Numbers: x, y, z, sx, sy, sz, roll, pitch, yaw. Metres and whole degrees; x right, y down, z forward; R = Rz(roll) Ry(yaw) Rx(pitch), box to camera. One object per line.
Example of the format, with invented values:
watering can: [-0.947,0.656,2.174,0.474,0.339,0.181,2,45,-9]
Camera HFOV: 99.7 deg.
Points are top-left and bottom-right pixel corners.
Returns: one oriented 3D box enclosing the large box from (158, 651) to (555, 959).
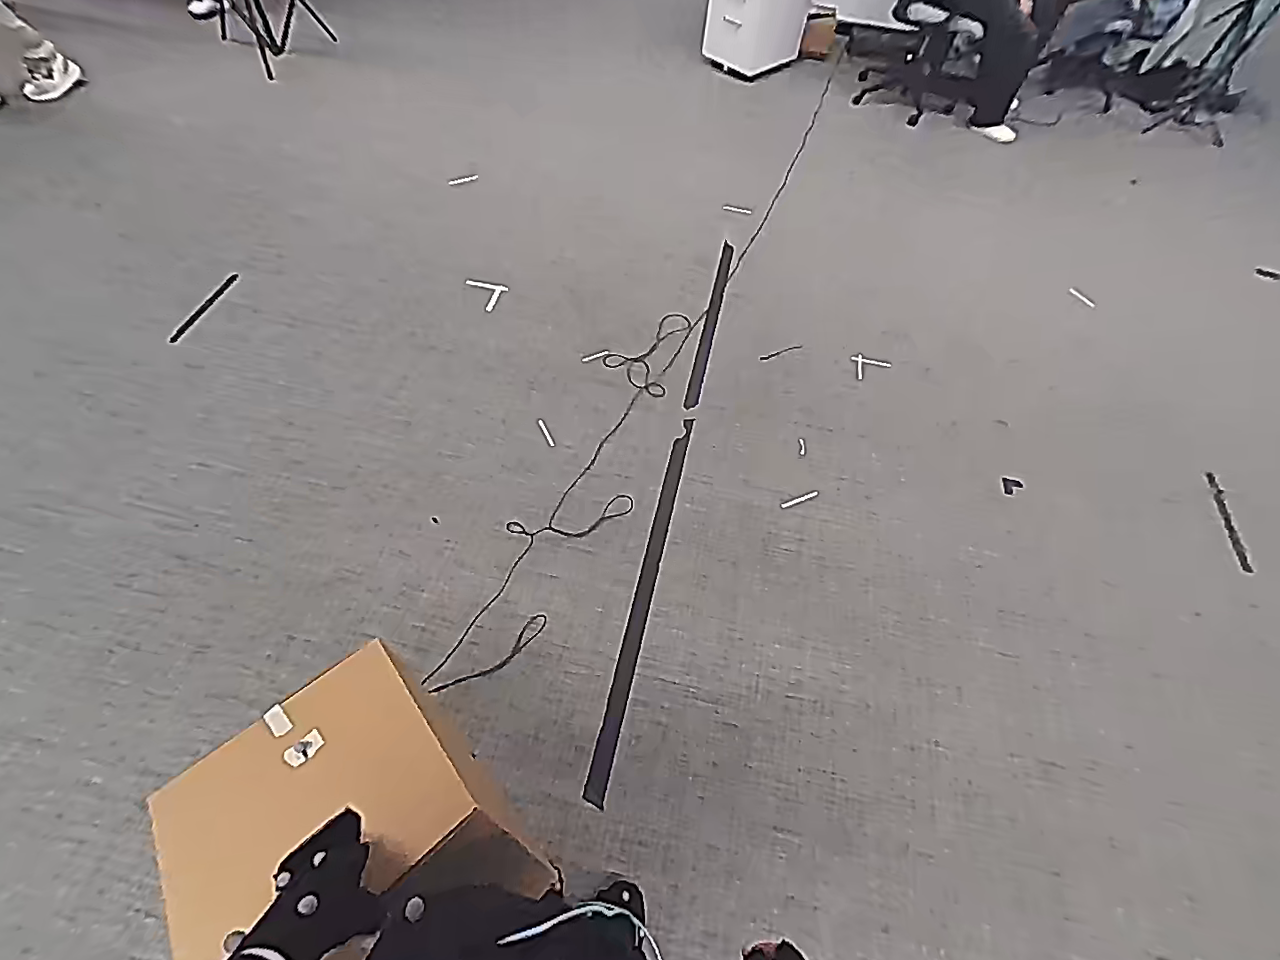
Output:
large box: [-0.380,0.532,0.795,0.320,0.408,0.320,-35,50,-23]
